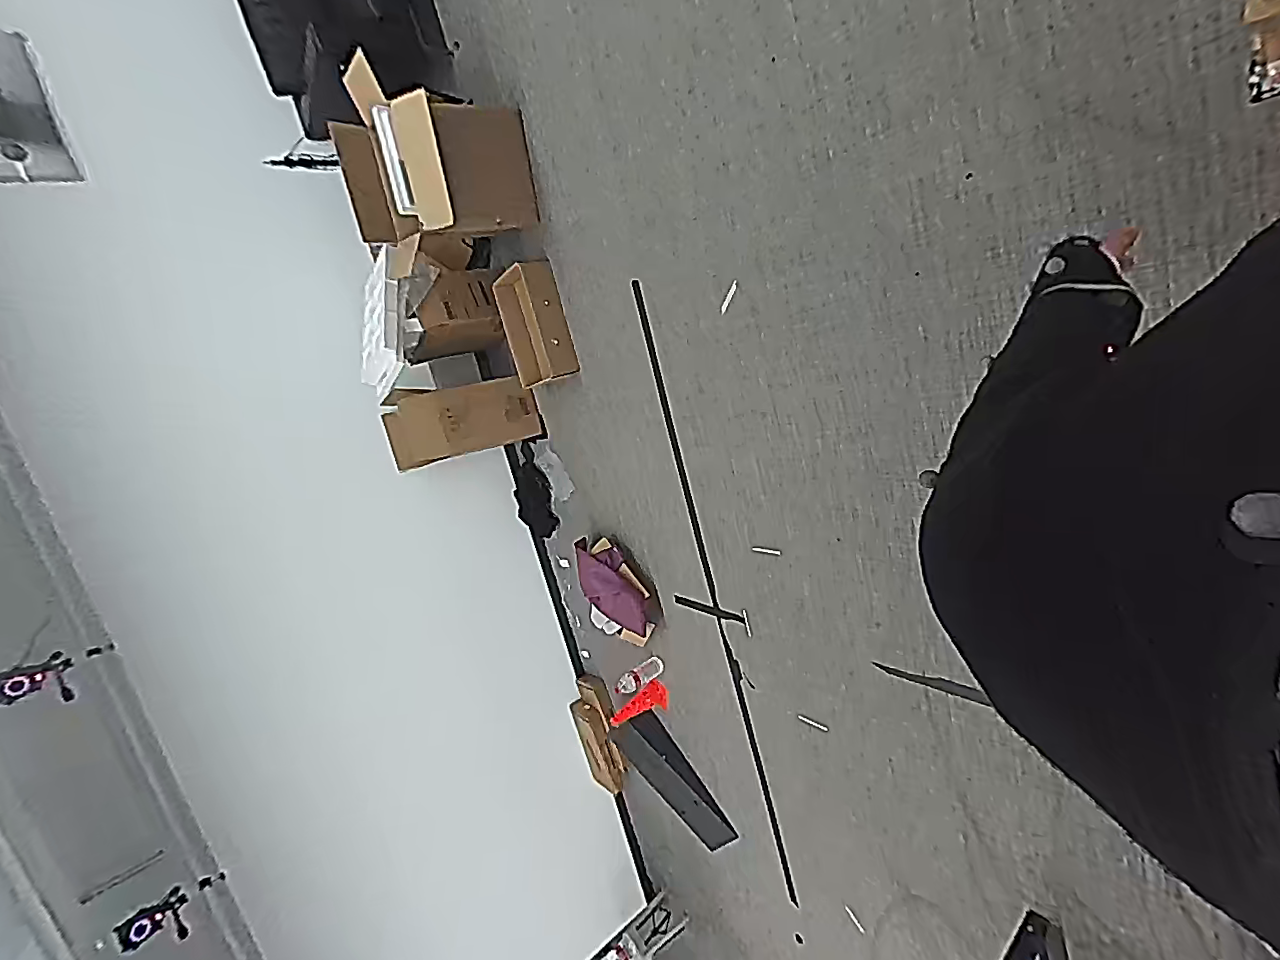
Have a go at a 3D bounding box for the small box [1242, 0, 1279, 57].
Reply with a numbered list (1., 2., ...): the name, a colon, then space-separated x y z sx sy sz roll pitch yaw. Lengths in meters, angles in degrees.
1. small box: 0.697 -0.515 0.484 0.179 0.176 0.168 15 122 54
